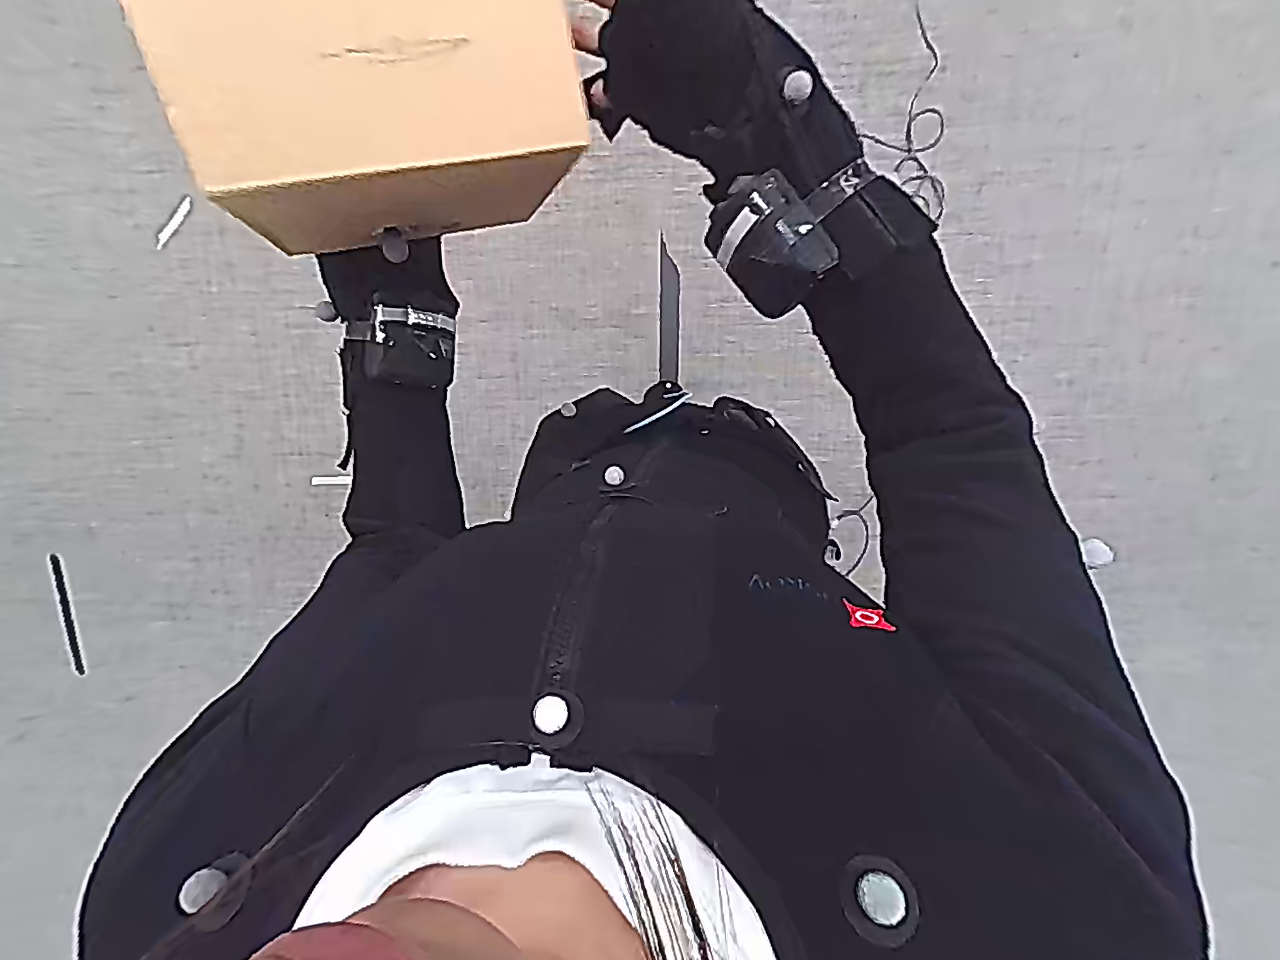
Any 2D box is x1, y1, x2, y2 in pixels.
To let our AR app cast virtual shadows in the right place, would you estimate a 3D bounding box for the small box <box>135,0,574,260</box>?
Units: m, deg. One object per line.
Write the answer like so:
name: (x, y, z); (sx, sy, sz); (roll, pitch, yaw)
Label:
small box: (-0.151, -0.239, 0.300); (0.168, 0.176, 0.179); (-17, 107, -15)
